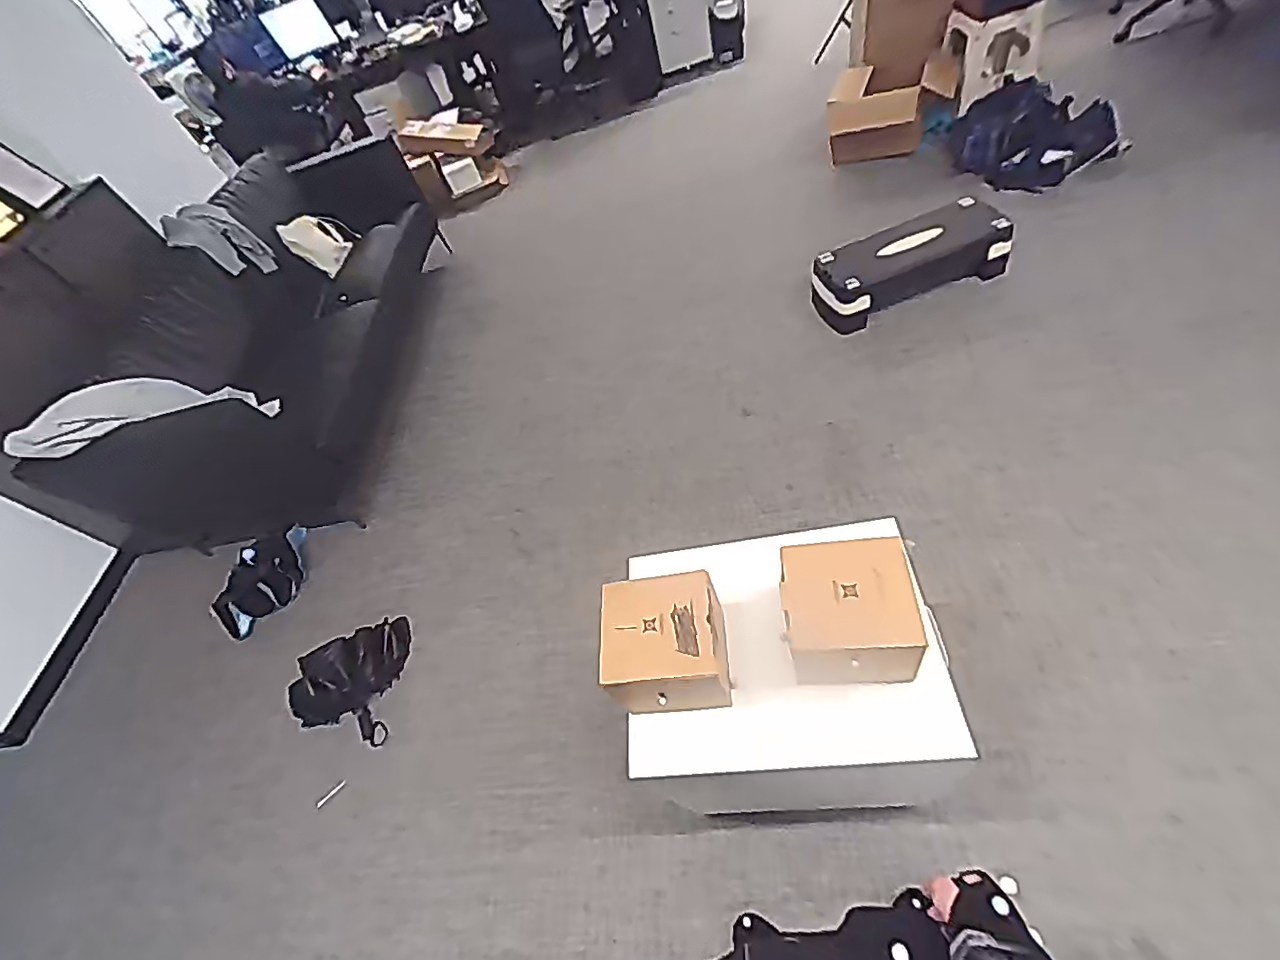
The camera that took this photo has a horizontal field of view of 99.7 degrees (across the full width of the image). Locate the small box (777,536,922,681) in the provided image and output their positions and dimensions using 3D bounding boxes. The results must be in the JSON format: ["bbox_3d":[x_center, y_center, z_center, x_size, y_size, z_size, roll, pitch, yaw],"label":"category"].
[{"bbox_3d":[0.314,0.204,0.832,0.179,0.176,0.168,-7,54,15],"label":"small box"}]

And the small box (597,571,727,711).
[{"bbox_3d":[0.042,0.266,0.880,0.179,0.176,0.168,-10,51,13],"label":"small box"}]
